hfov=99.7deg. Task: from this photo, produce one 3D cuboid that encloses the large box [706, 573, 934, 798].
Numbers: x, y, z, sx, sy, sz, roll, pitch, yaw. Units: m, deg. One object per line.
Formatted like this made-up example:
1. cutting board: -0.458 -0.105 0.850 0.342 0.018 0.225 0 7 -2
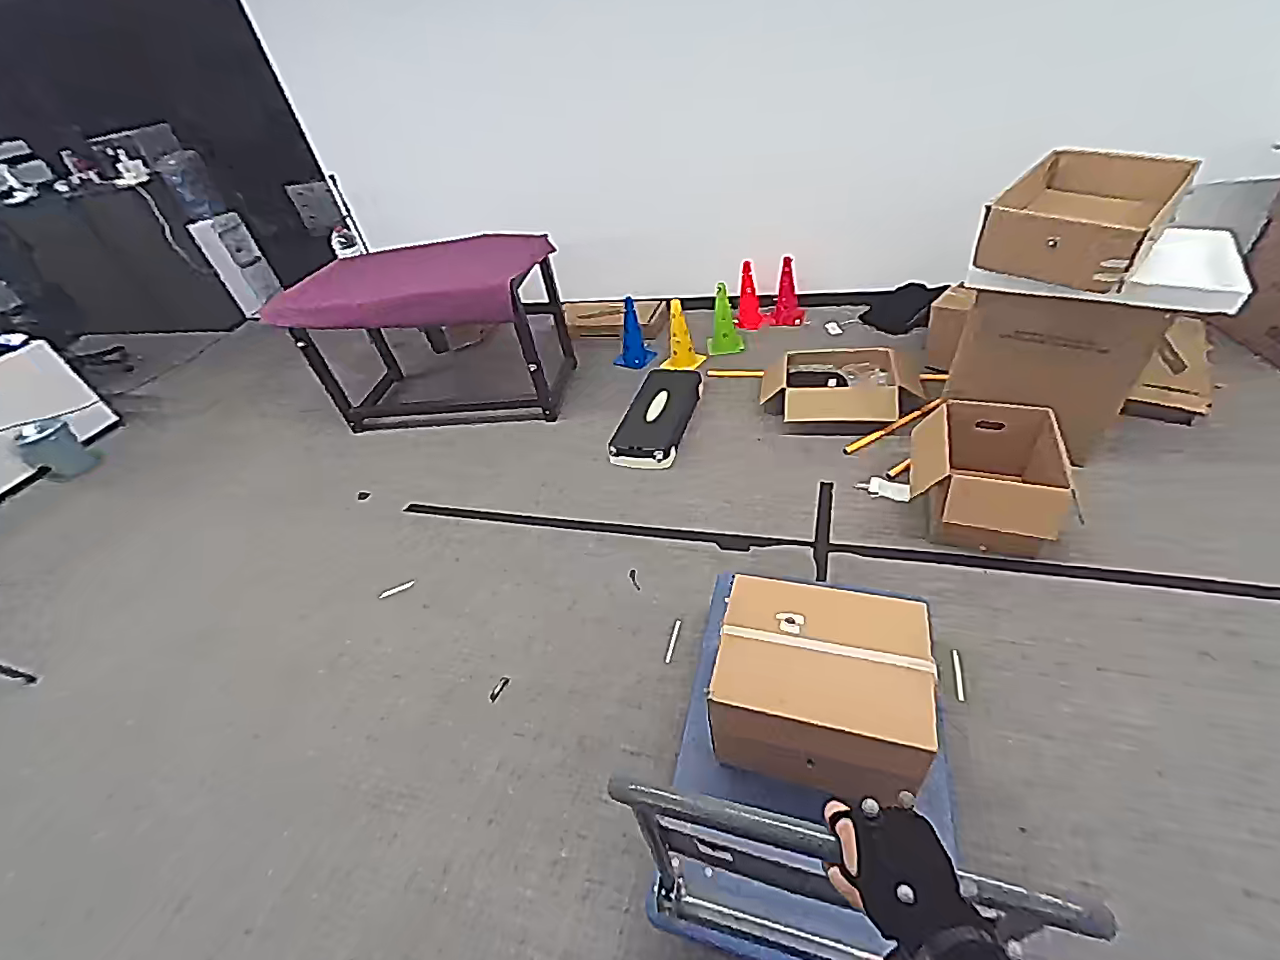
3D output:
1. large box: 0.382 0.438 1.180 0.408 0.320 0.320 4 42 19
